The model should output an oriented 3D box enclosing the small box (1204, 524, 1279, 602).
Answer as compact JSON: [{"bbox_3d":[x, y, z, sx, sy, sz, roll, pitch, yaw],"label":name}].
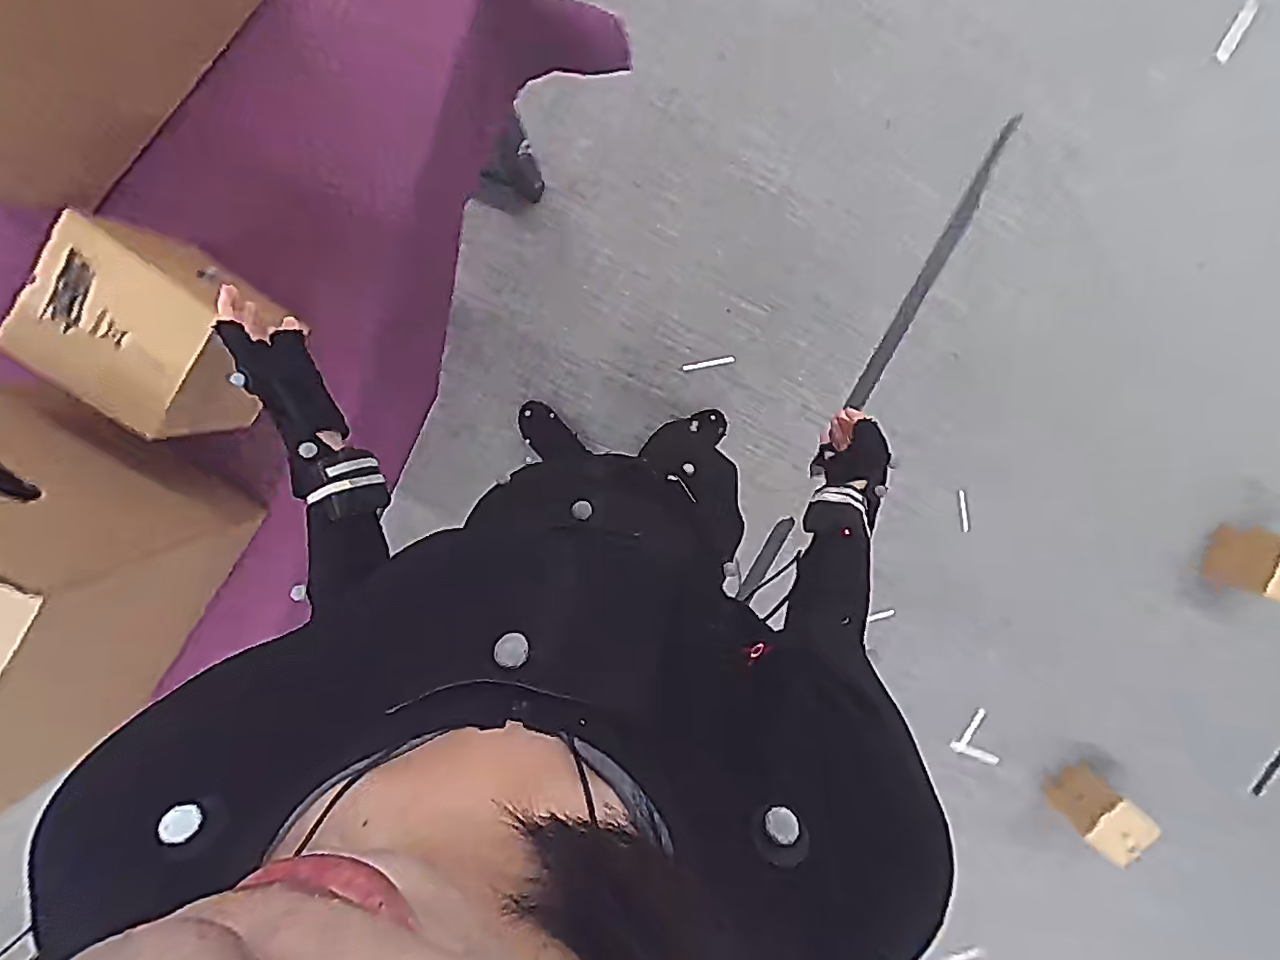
[{"bbox_3d":[1.778,0.241,1.533,0.168,0.176,0.179,13,98,-6],"label":"small box"}]

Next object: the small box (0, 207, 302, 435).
[{"bbox_3d":[-0.553,-0.171,0.632,0.179,0.176,0.168,36,97,-8],"label":"small box"}]

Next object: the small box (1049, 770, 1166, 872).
[{"bbox_3d":[1.419,1.030,1.655,0.179,0.176,0.168,40,97,-7],"label":"small box"}]
